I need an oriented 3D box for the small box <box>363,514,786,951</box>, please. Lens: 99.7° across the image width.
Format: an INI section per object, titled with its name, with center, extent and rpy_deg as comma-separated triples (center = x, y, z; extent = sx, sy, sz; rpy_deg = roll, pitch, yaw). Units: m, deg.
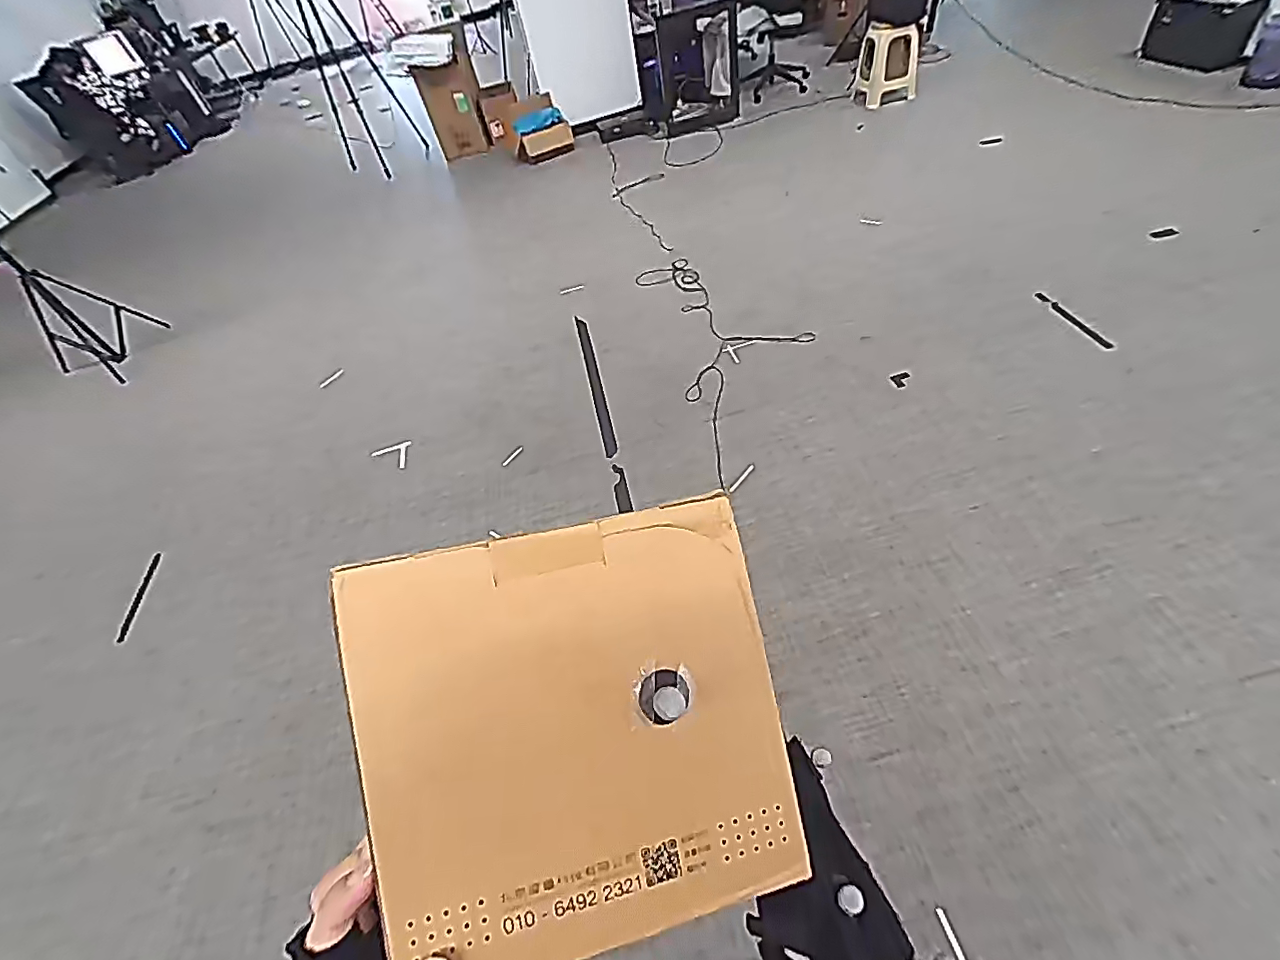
[small box]
center = -0.035, 0.120, 0.315
extent = 0.168, 0.179, 0.176
rpy_deg = -10, 86, -10
